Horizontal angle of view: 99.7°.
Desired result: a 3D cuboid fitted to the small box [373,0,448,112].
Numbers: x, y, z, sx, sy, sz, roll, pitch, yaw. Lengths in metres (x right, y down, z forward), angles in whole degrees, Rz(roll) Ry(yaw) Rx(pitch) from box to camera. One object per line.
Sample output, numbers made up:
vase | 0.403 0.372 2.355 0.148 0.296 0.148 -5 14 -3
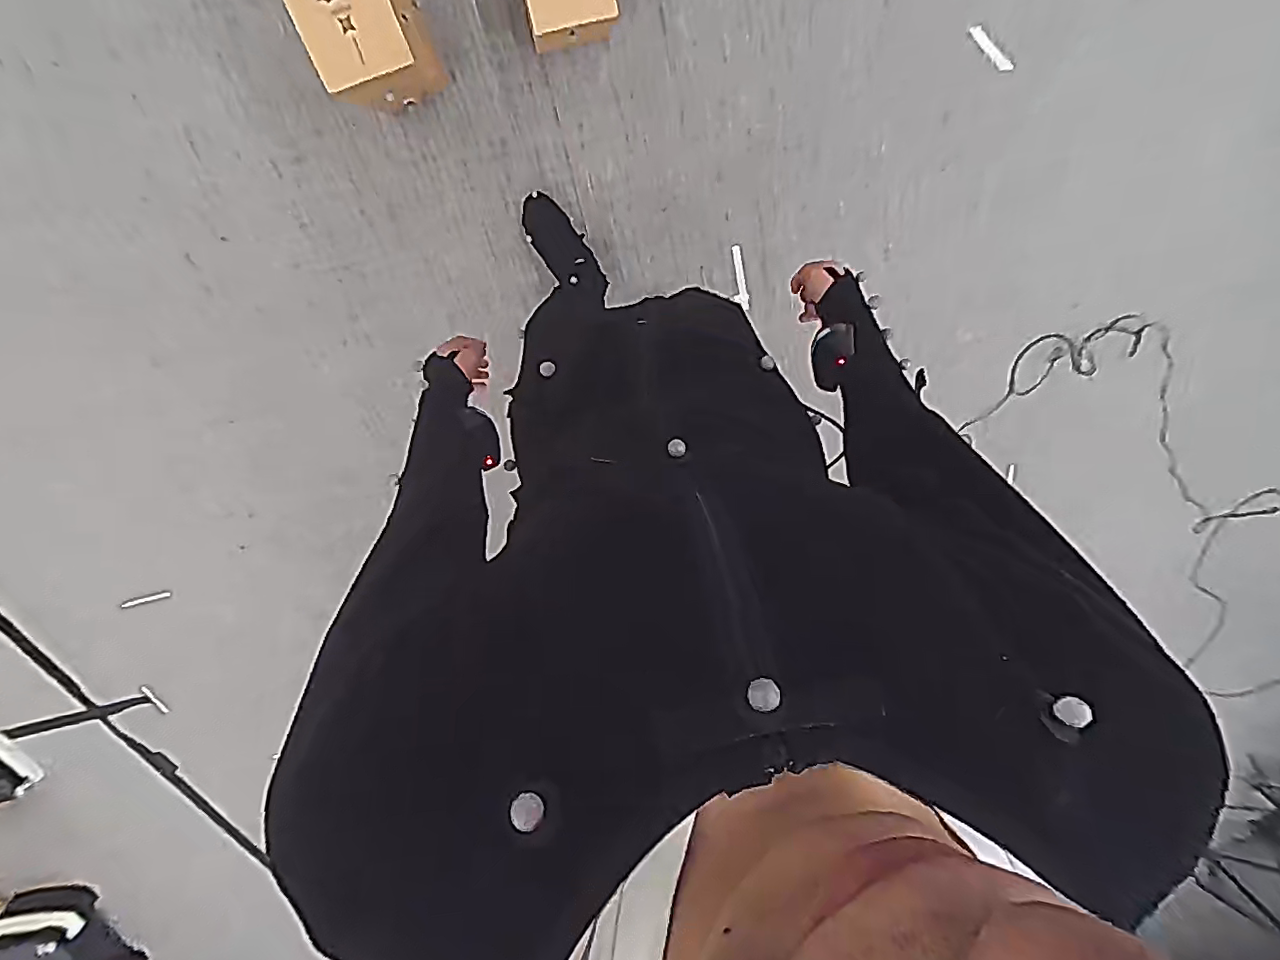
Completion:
small box | -0.520 -0.893 1.114 0.168 0.176 0.179 -20 119 2

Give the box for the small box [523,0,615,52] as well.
small box | -0.157 -1.010 1.109 0.179 0.176 0.168 -14 119 -2

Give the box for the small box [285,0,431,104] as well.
small box | -0.504 -0.811 0.973 0.168 0.176 0.179 -18 119 2
